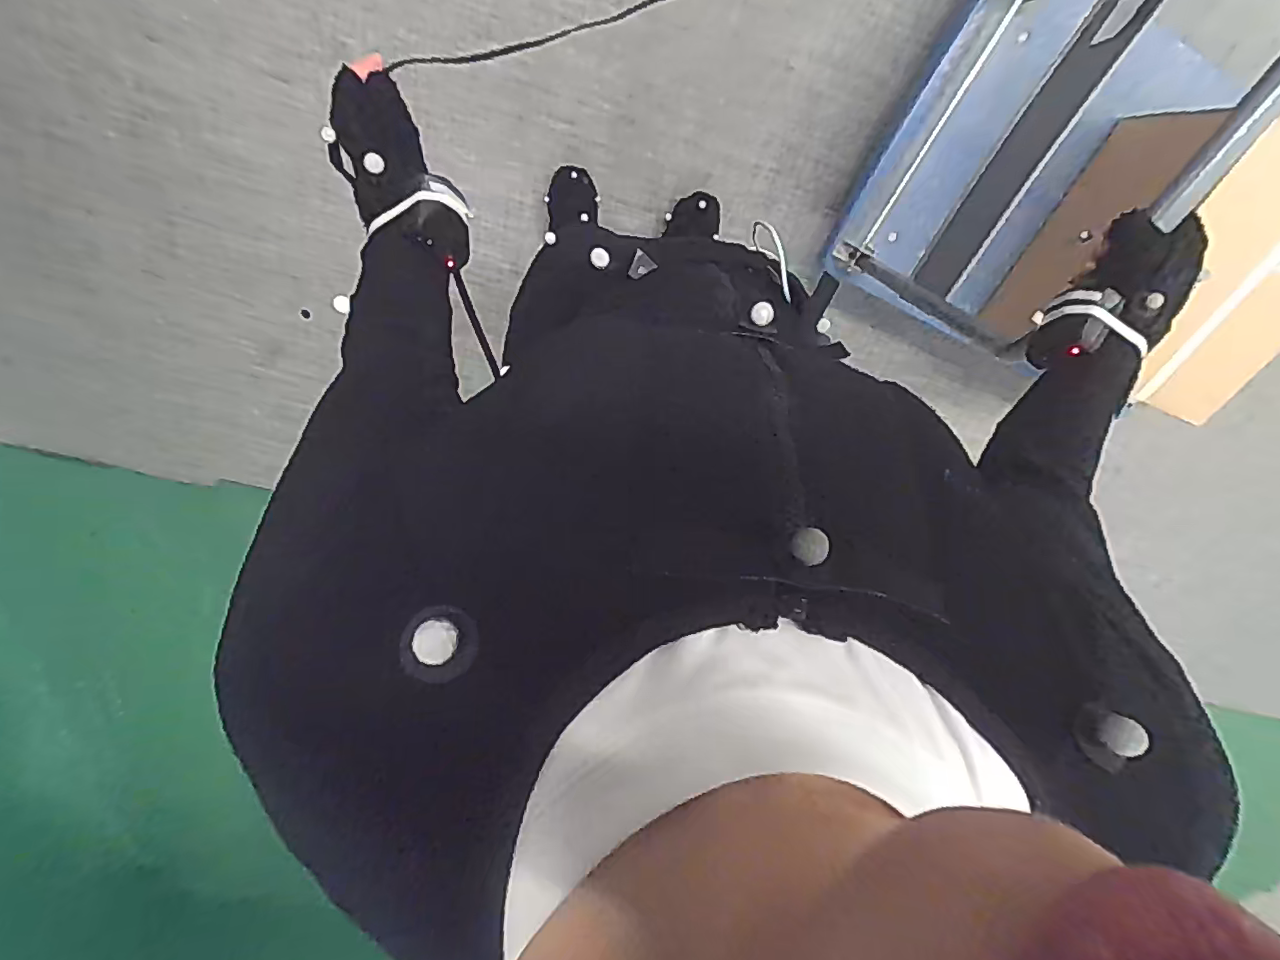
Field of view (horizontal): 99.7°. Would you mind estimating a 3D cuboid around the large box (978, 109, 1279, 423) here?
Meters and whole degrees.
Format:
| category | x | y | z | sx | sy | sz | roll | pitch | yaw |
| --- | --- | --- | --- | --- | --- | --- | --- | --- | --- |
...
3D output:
| category | x | y | z | sx | sy | sz | roll | pitch | yaw |
| --- | --- | --- | --- | --- | --- | --- | --- | --- | --- |
| large box | 0.941 | -0.381 | 0.991 | 0.320 | 0.320 | 0.408 | 18 | 120 | -10 |
